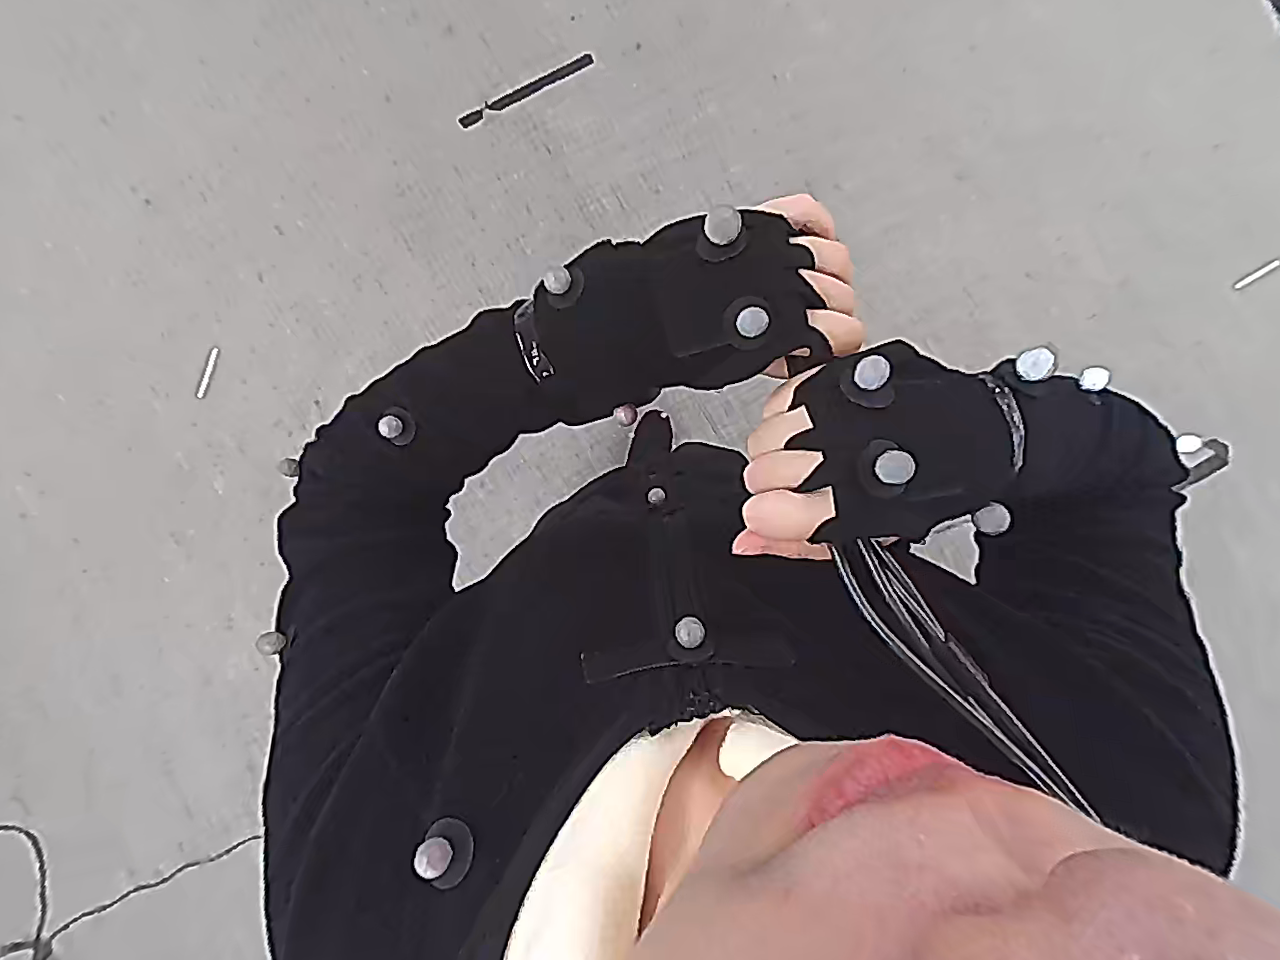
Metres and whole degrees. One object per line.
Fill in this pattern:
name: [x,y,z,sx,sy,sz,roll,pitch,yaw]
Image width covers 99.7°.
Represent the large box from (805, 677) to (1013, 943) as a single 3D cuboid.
large box: [0.578,0.704,1.214,0.320,0.320,0.408,-2,92,-2]
